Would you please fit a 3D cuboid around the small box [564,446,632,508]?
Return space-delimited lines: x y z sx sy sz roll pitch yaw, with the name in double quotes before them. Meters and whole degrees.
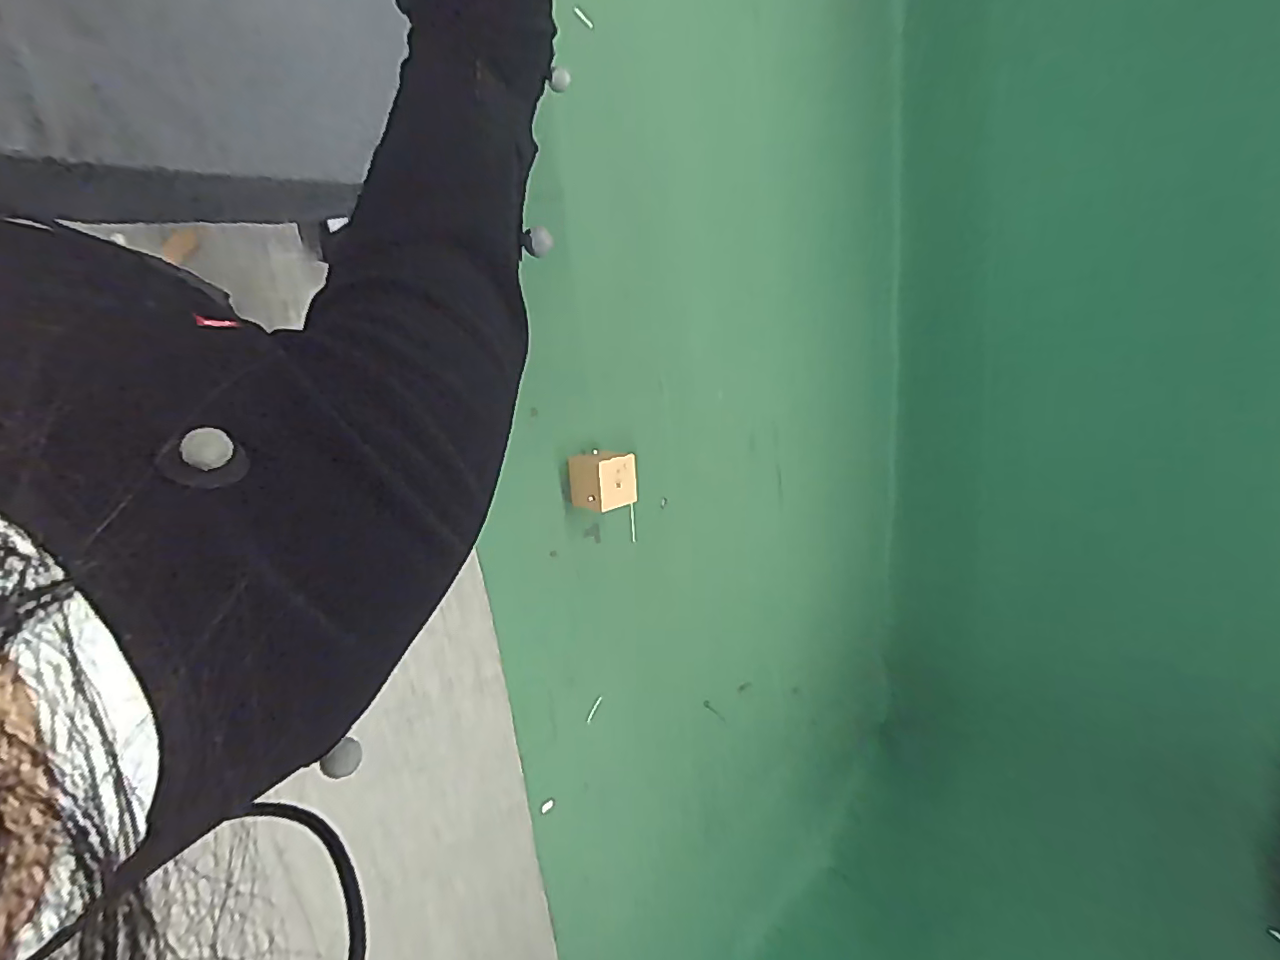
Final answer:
"small box" -0.148 -0.015 1.893 0.168 0.176 0.179 -16 108 -43
